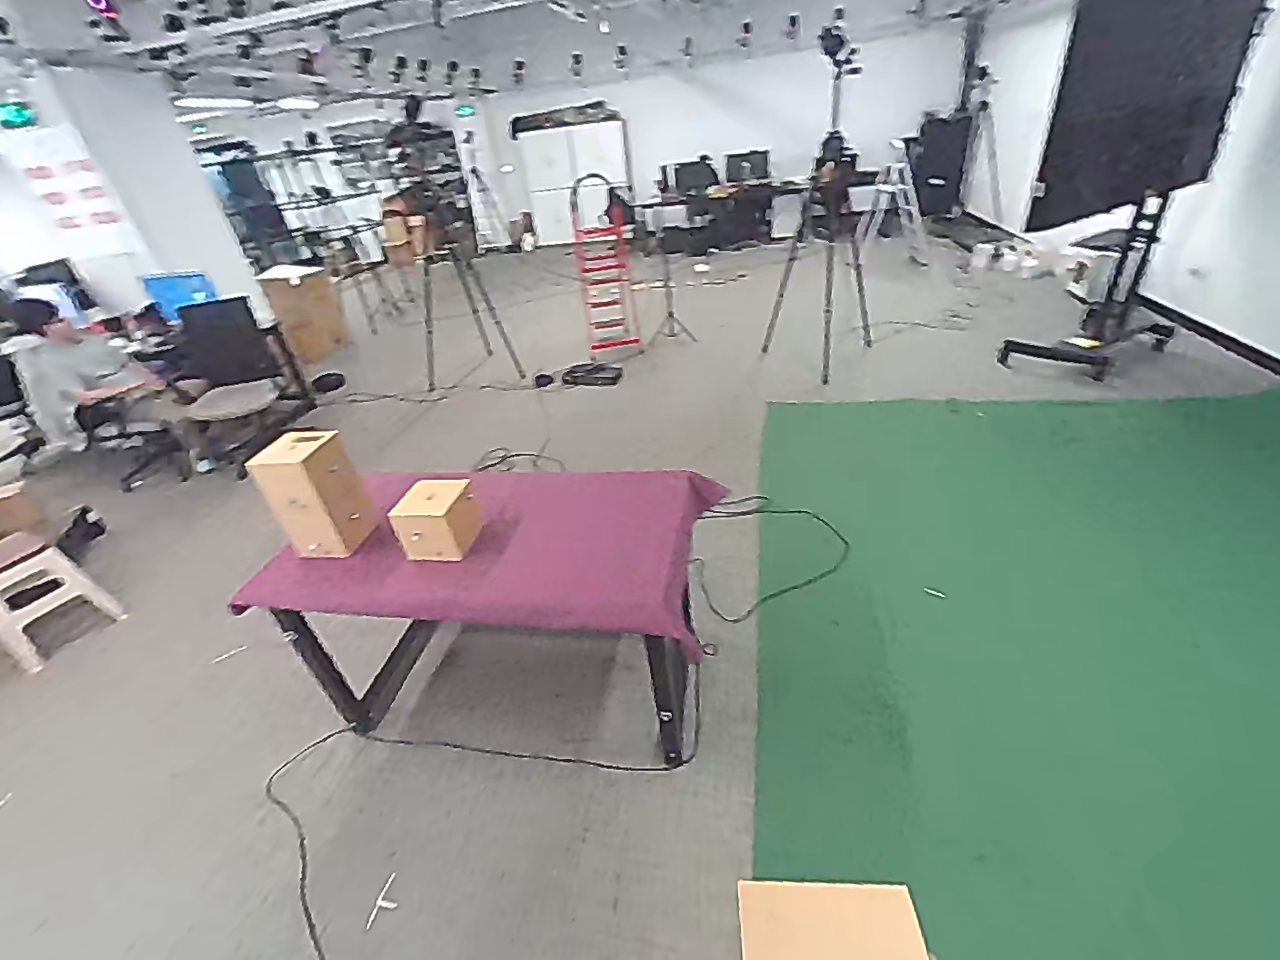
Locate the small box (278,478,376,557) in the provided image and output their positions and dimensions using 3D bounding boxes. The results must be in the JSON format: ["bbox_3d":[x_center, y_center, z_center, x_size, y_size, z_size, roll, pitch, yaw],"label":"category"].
[{"bbox_3d":[-0.926,0.109,1.624,0.168,0.176,0.179,-1,34,10],"label":"small box"}]

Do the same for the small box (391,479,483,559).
[{"bbox_3d":[-0.572,0.113,1.555,0.168,0.176,0.179,-1,32,11],"label":"small box"}]
